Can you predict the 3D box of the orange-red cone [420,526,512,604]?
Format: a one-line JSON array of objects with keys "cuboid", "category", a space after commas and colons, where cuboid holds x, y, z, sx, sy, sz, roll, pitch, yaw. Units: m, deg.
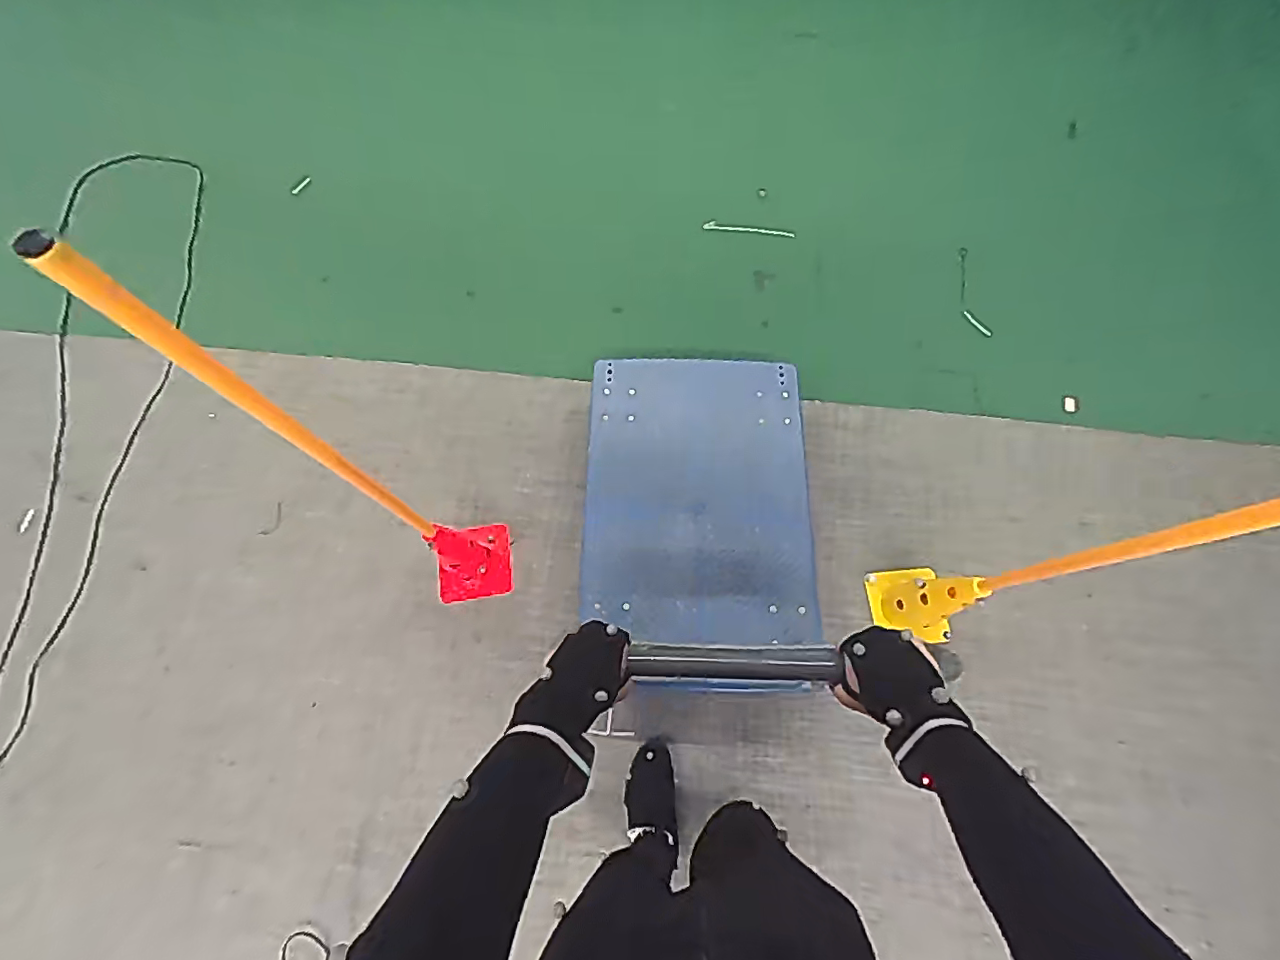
[{"cuboid": [-0.458, 0.178, 1.331, 0.199, 0.360, 0.198, -9, 70, -2], "category": "orange-red cone"}]
